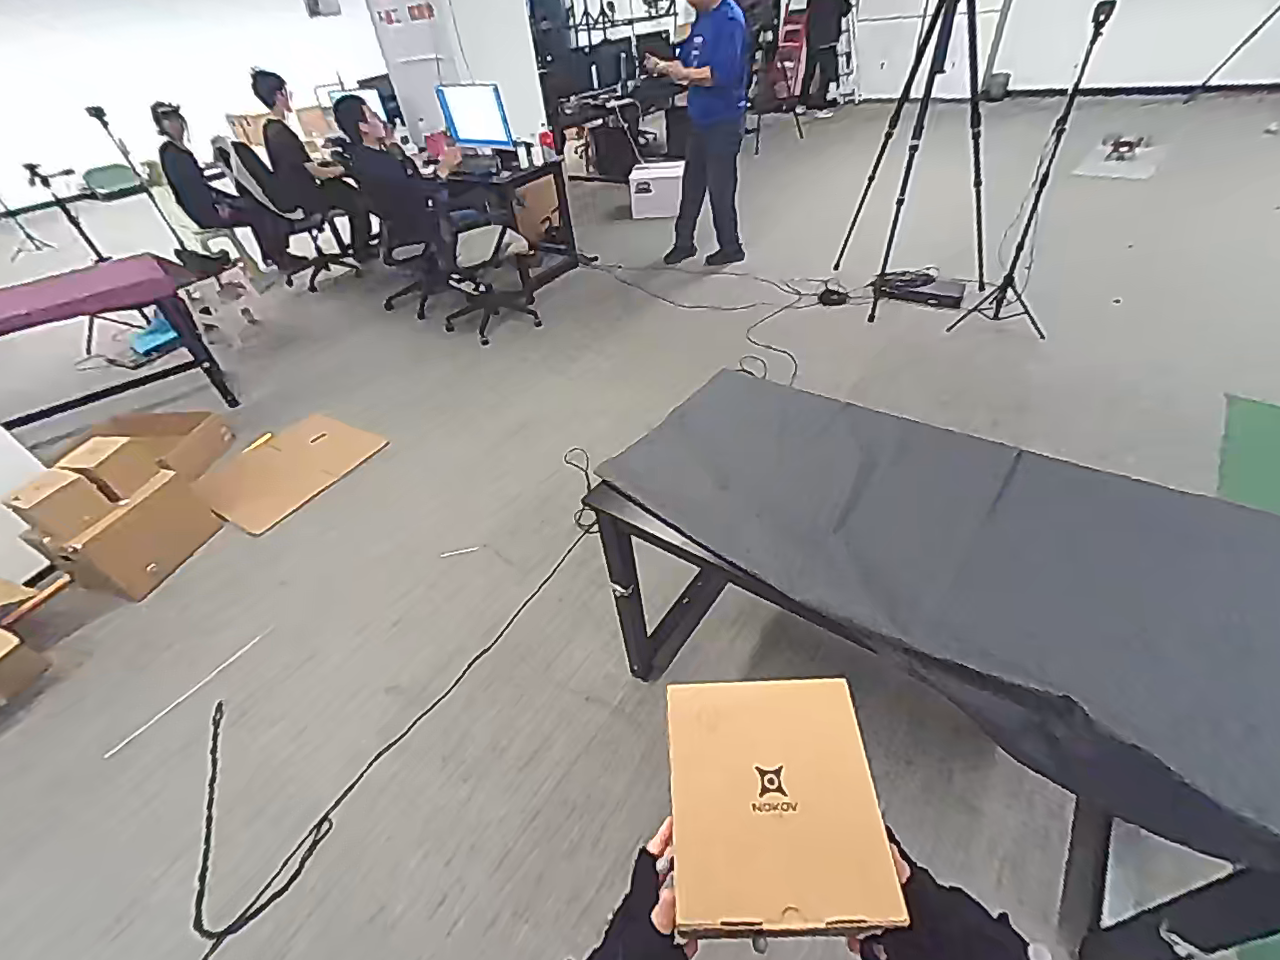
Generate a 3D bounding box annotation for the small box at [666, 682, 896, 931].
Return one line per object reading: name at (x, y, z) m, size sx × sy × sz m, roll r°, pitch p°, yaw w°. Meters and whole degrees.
small box at (0.108, 0.307, 0.508) m, size 0.168 × 0.176 × 0.179 m, roll -2°, pitch 50°, yaw 2°
